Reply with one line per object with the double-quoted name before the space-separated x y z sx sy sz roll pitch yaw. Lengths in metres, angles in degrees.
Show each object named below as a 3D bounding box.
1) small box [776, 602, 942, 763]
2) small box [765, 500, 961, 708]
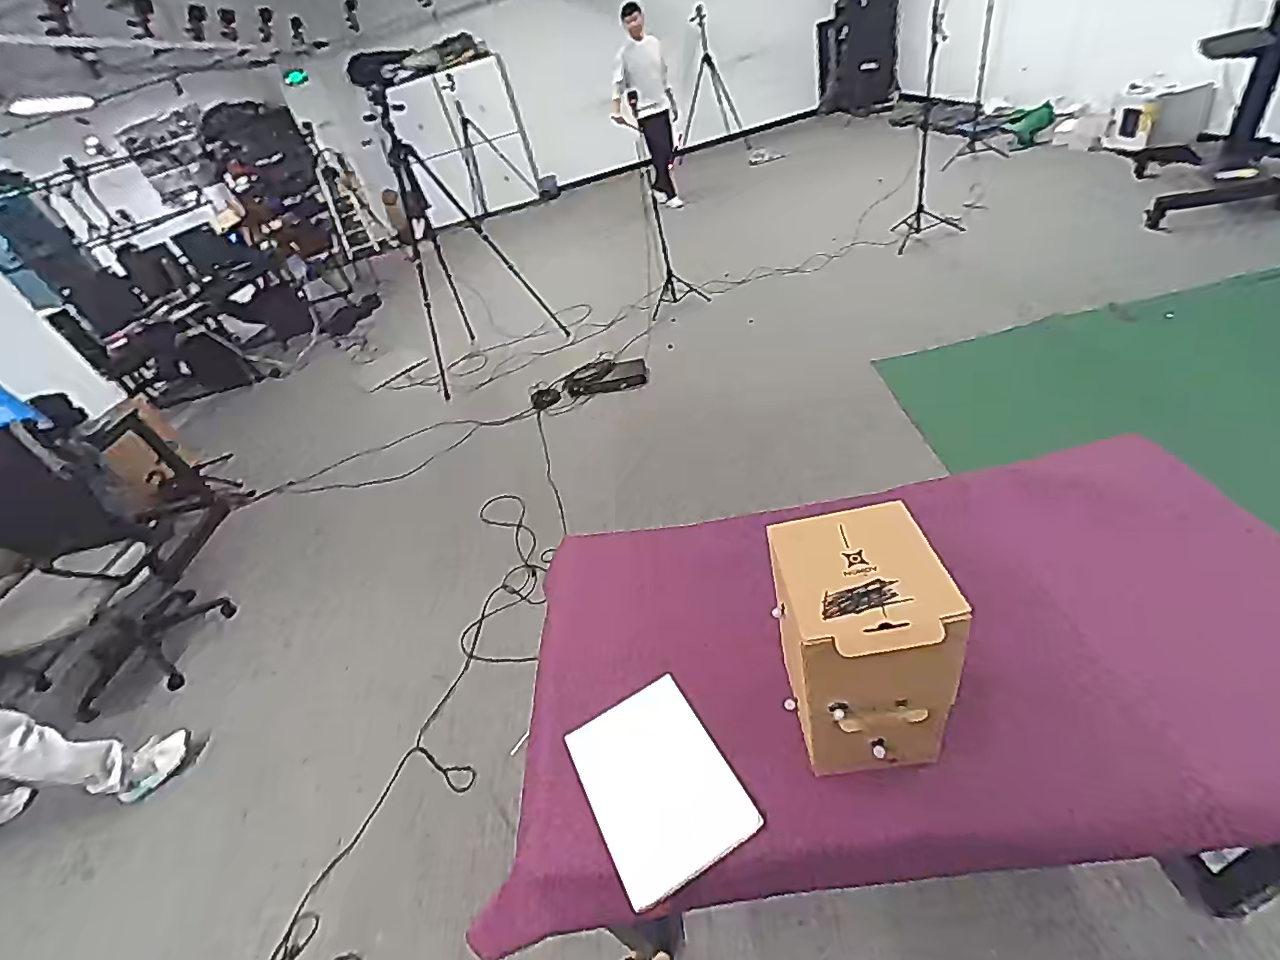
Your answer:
"small box" 0.296 0.275 0.757 0.168 0.176 0.179 -11 39 7
"small box" 0.256 0.154 0.651 0.168 0.176 0.179 -12 37 8
